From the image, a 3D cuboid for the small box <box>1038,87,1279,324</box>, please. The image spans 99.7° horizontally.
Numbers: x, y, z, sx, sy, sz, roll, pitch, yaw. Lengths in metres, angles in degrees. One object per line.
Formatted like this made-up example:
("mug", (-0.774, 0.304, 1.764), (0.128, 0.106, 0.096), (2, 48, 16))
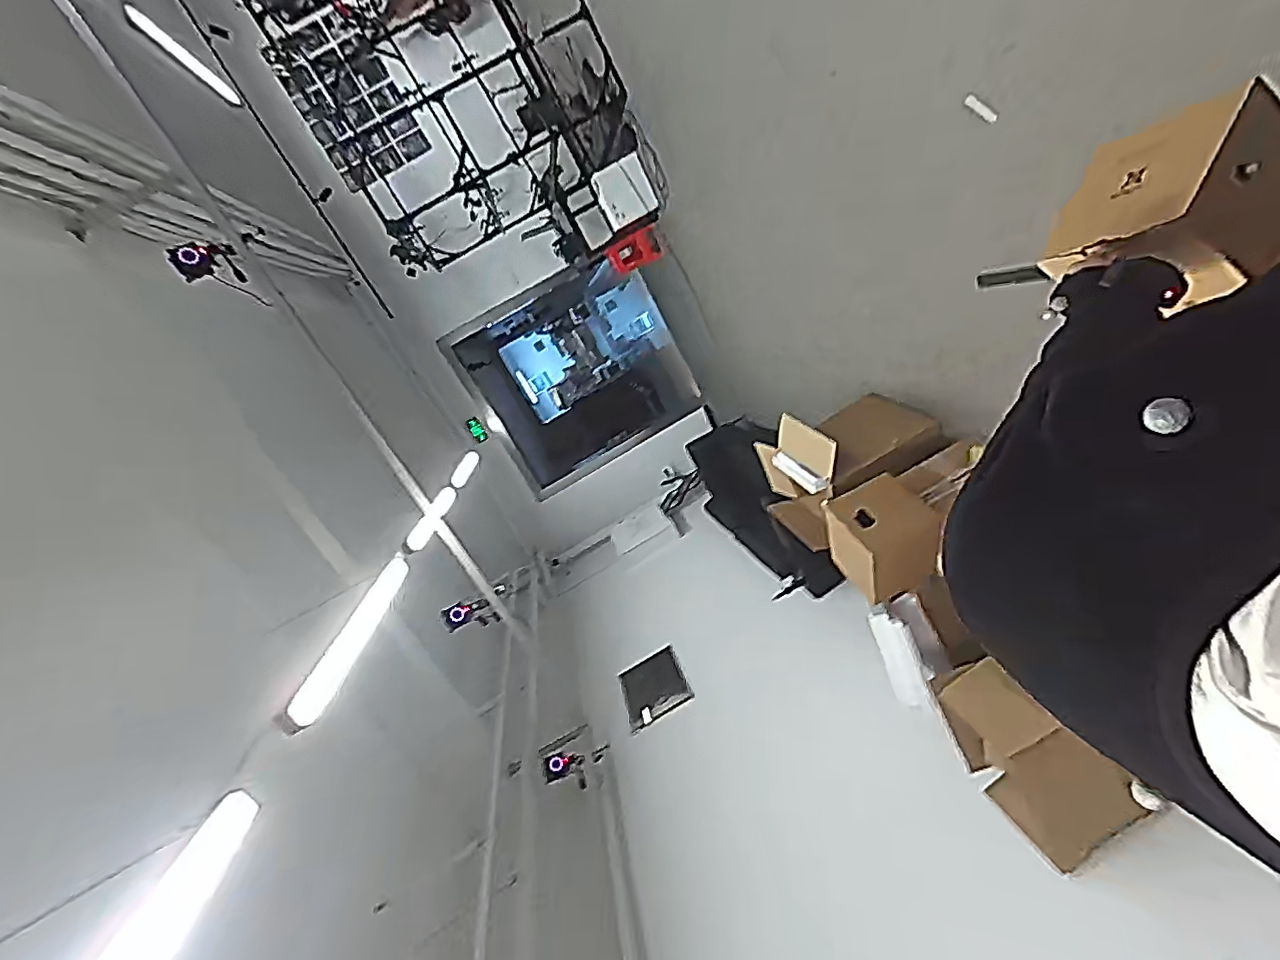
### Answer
("small box", (0.654, -0.310, 0.661), (0.176, 0.179, 0.168), (30, 179, -15))
